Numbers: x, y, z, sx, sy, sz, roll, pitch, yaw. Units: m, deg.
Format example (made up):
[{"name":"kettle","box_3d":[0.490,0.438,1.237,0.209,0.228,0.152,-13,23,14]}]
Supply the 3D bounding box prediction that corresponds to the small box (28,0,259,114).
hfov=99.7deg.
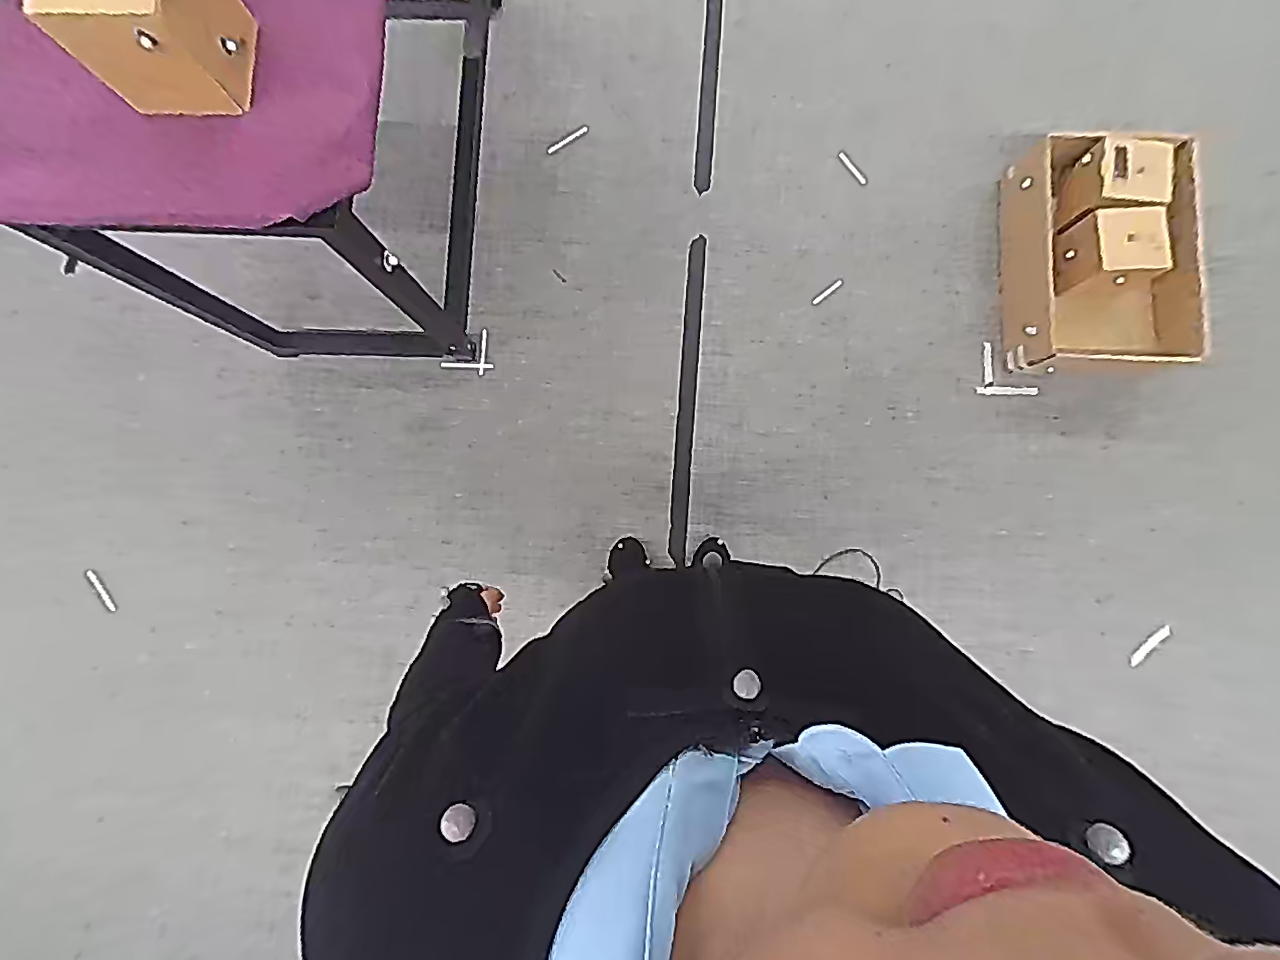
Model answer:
[{"name":"small box","box_3d":[-0.706,-0.670,0.788,0.179,0.176,0.168,0,83,0]}]

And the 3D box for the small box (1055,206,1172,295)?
[{"name":"small box","box_3d":[1.256,-0.608,1.452,0.179,0.176,0.168,-2,85,1]}]
